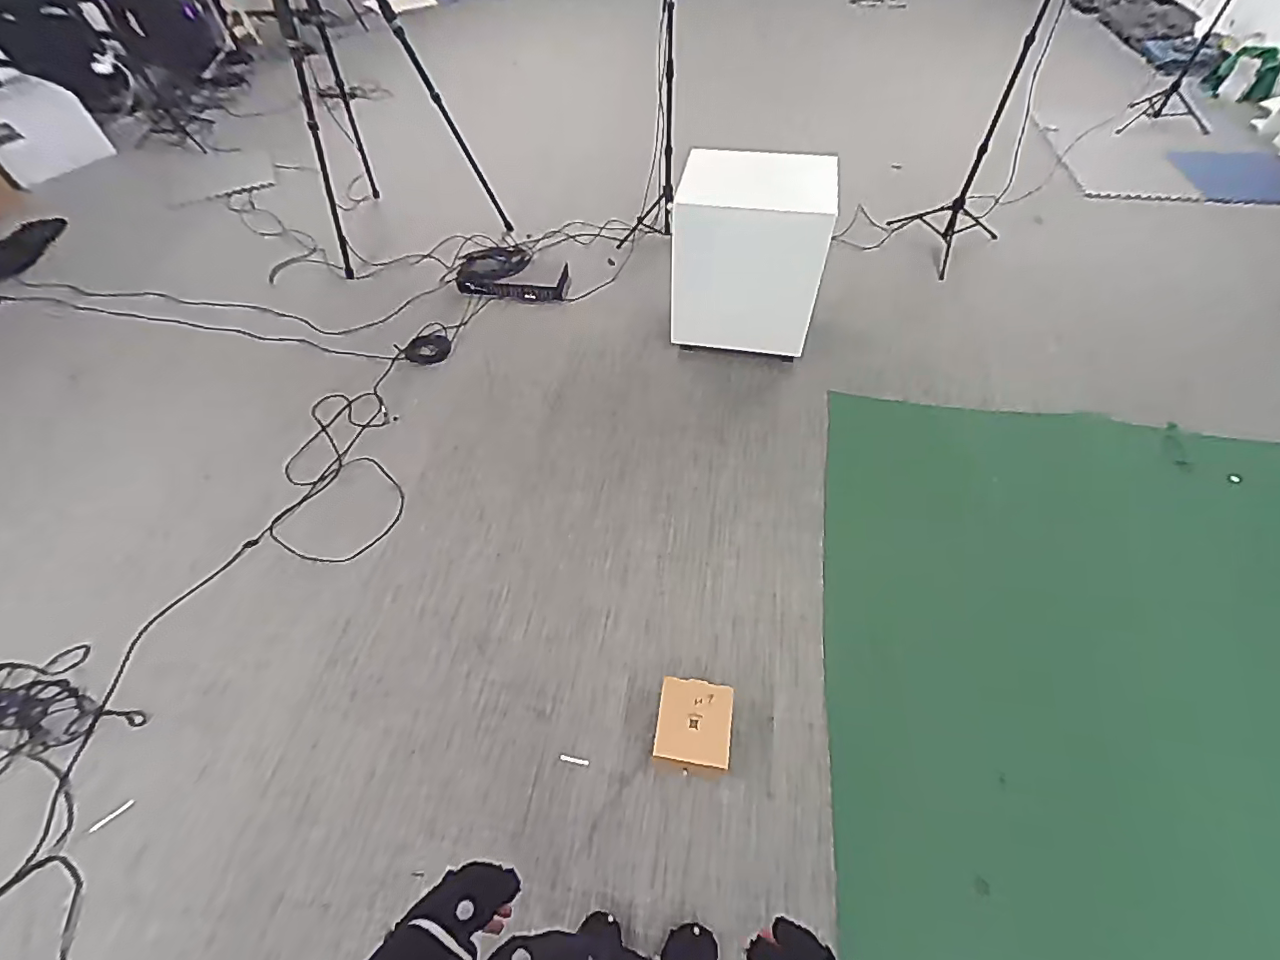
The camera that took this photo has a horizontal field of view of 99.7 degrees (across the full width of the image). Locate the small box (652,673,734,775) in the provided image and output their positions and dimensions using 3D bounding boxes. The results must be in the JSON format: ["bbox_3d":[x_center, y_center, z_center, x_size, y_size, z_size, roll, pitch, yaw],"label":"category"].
[{"bbox_3d":[0.124,0.579,1.274,0.168,0.176,0.179,8,54,7],"label":"small box"}]
